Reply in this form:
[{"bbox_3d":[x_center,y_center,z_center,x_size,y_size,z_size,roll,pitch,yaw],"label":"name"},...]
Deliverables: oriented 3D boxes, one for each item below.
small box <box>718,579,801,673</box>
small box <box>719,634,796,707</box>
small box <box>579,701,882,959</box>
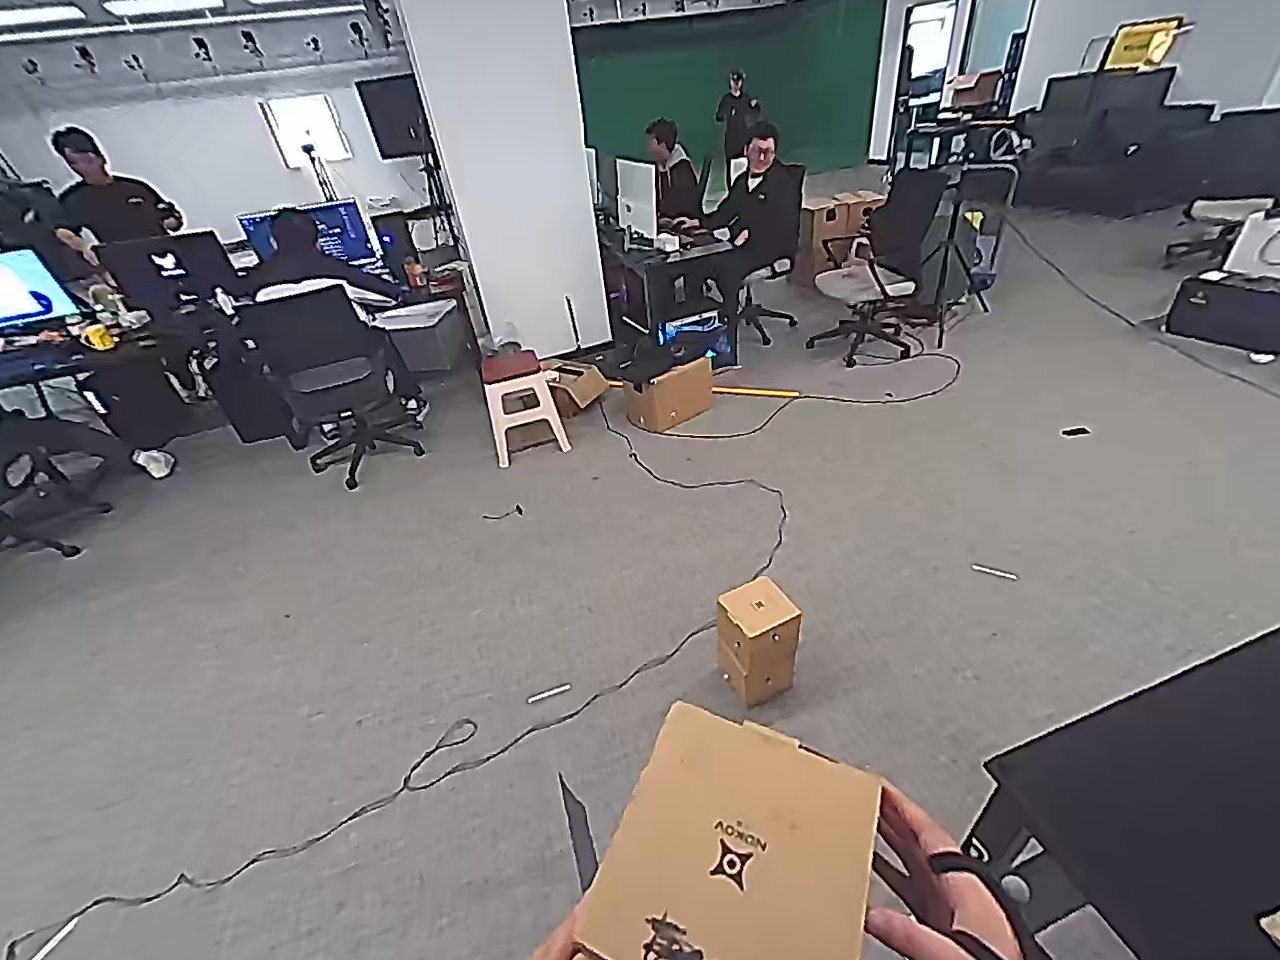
[{"bbox_3d":[0.343,0.424,1.567,0.179,0.176,0.168,-19,38,-18],"label":"small box"},{"bbox_3d":[0.356,0.558,1.658,0.179,0.176,0.168,-19,37,-14],"label":"small box"},{"bbox_3d":[0.076,0.315,0.416,0.168,0.176,0.179,10,40,25],"label":"small box"}]
